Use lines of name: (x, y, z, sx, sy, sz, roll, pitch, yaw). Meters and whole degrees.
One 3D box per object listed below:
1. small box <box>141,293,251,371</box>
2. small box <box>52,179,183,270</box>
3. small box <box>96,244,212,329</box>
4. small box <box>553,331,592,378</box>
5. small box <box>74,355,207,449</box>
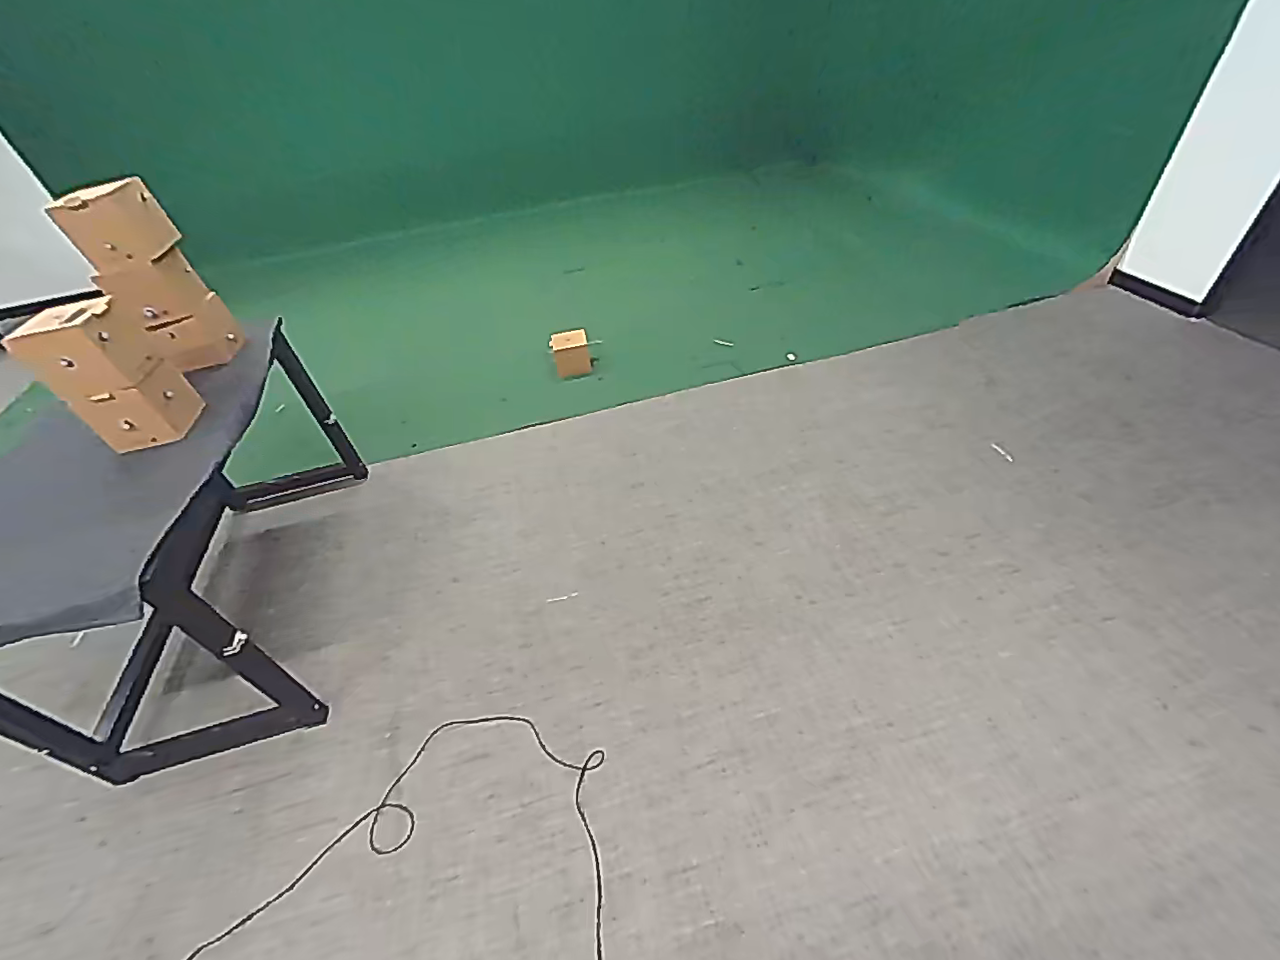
small box: (-1.397, -0.465, 1.715, 0.179, 0.176, 0.168, -12, 44, -1)
small box: (-1.424, -0.704, 1.492, 0.168, 0.176, 0.179, -15, 44, -2)
small box: (-1.417, -0.573, 1.595, 0.168, 0.176, 0.179, -18, 46, -5)
small box: (-0.348, -0.655, 2.825, 0.179, 0.176, 0.168, -12, 44, -3)
small box: (-1.300, -0.200, 1.425, 0.168, 0.176, 0.179, -14, 44, -4)
